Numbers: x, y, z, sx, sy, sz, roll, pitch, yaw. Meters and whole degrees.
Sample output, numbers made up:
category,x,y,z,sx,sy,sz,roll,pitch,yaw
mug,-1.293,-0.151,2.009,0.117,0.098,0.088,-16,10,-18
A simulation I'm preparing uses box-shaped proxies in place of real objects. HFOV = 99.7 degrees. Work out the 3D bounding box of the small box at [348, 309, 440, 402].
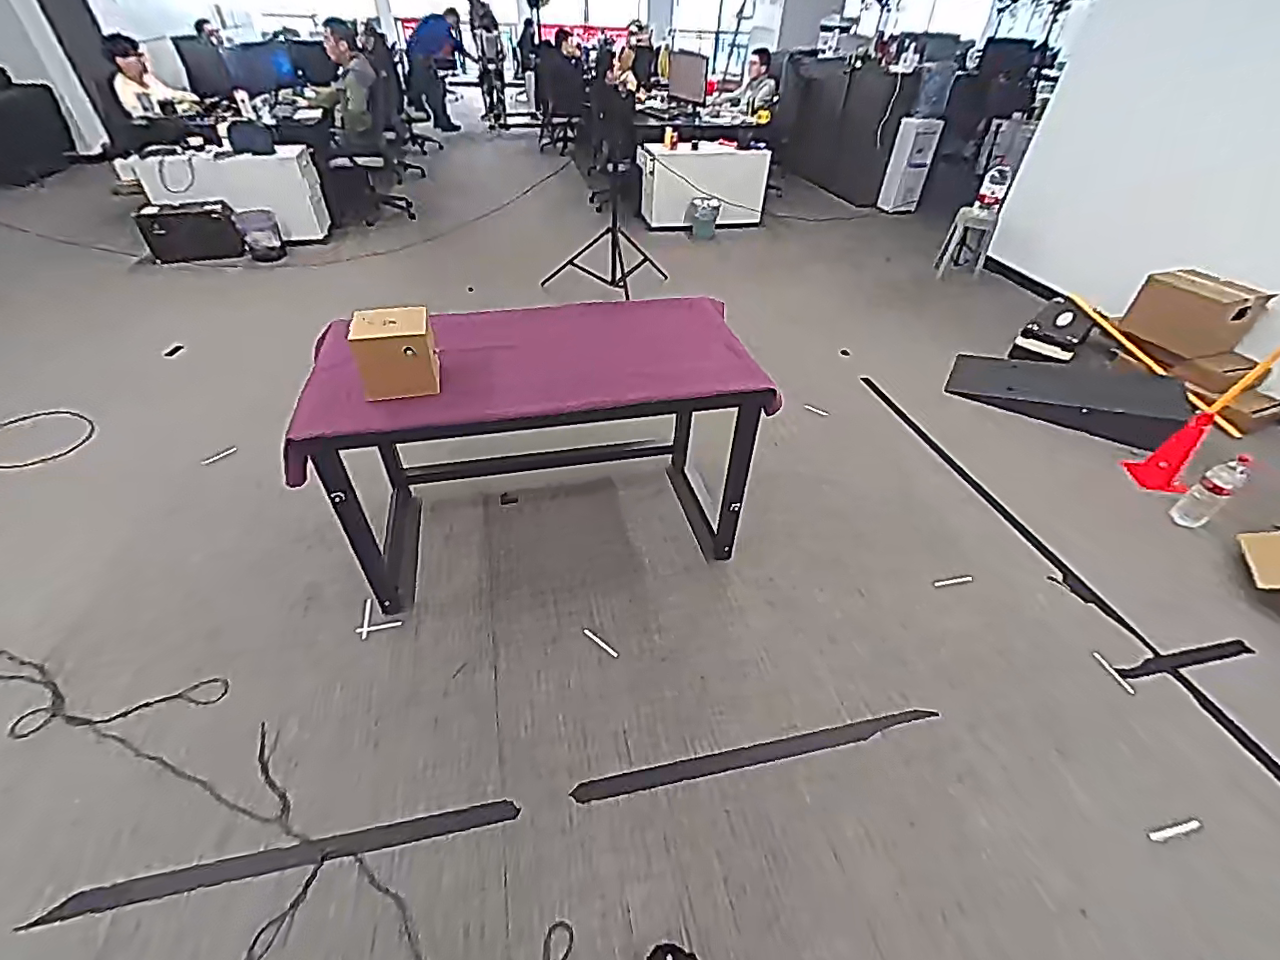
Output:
category,x,y,z,sx,sy,sz,roll,pitch,yaw
small box,-0.613,-0.315,1.373,0.179,0.176,0.168,-9,41,-13
